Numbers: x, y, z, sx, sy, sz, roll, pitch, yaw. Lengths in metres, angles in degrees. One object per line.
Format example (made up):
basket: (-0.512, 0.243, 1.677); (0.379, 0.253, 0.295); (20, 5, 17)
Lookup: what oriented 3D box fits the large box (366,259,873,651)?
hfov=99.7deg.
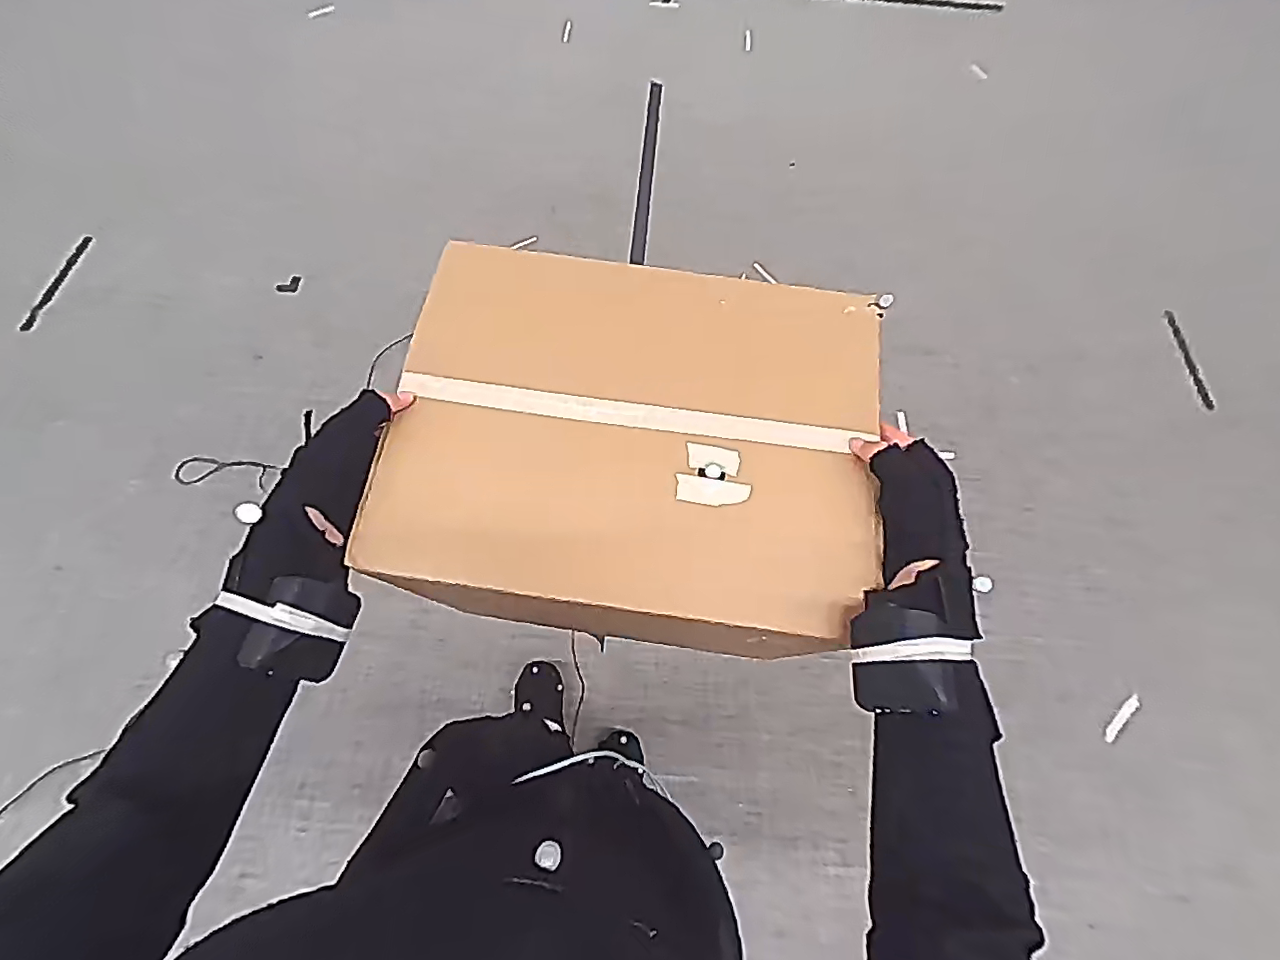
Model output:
large box: (-0.007, 0.004, 0.606); (0.408, 0.320, 0.320); (8, 71, 0)
